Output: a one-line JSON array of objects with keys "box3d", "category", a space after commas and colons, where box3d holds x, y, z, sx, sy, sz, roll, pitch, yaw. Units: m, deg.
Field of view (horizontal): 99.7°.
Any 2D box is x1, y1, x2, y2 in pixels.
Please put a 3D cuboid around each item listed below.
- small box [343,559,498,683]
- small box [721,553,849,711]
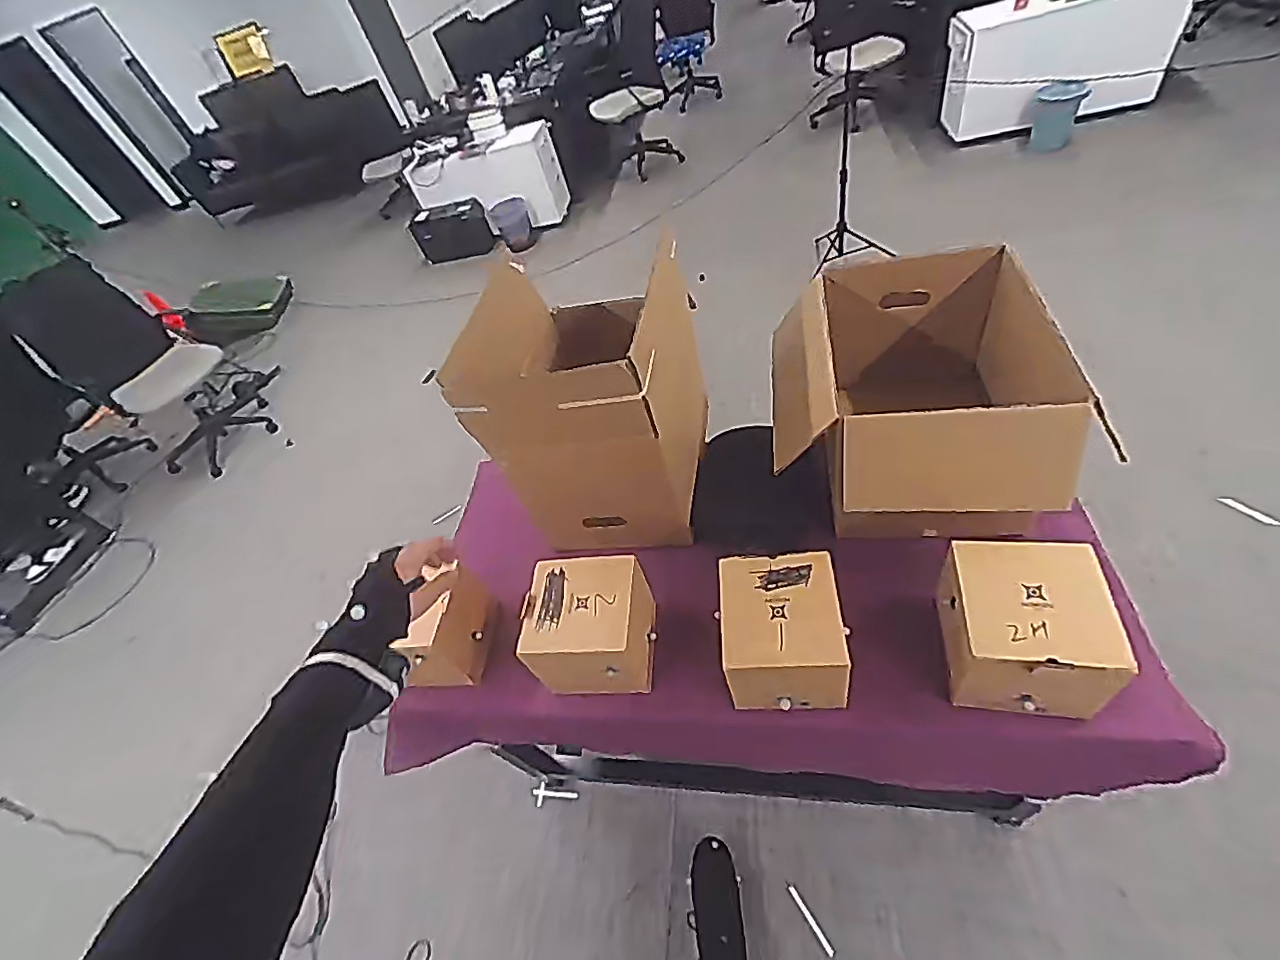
[{"box3d": [-0.389, 0.263, 0.991, 0.179, 0.176, 0.168, -6, 48, 12], "category": "small box"}, {"box3d": [0.215, 0.231, 0.818, 0.168, 0.176, 0.179, -6, 49, 14], "category": "small box"}]
